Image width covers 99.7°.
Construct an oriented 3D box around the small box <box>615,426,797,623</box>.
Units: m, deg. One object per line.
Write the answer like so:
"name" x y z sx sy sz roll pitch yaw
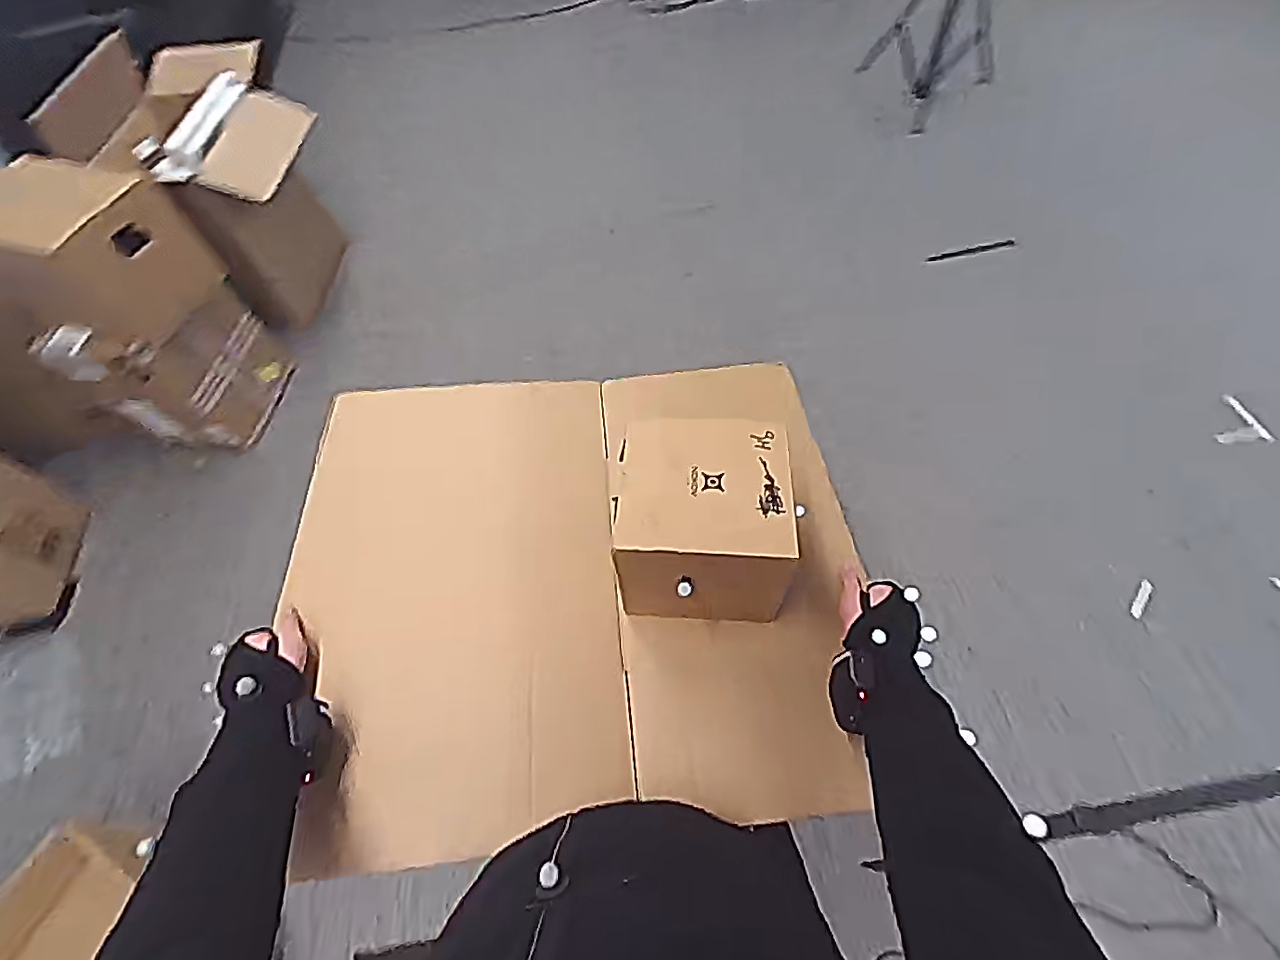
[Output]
"small box" 0.075 0.056 0.621 0.179 0.176 0.168 2 56 6
